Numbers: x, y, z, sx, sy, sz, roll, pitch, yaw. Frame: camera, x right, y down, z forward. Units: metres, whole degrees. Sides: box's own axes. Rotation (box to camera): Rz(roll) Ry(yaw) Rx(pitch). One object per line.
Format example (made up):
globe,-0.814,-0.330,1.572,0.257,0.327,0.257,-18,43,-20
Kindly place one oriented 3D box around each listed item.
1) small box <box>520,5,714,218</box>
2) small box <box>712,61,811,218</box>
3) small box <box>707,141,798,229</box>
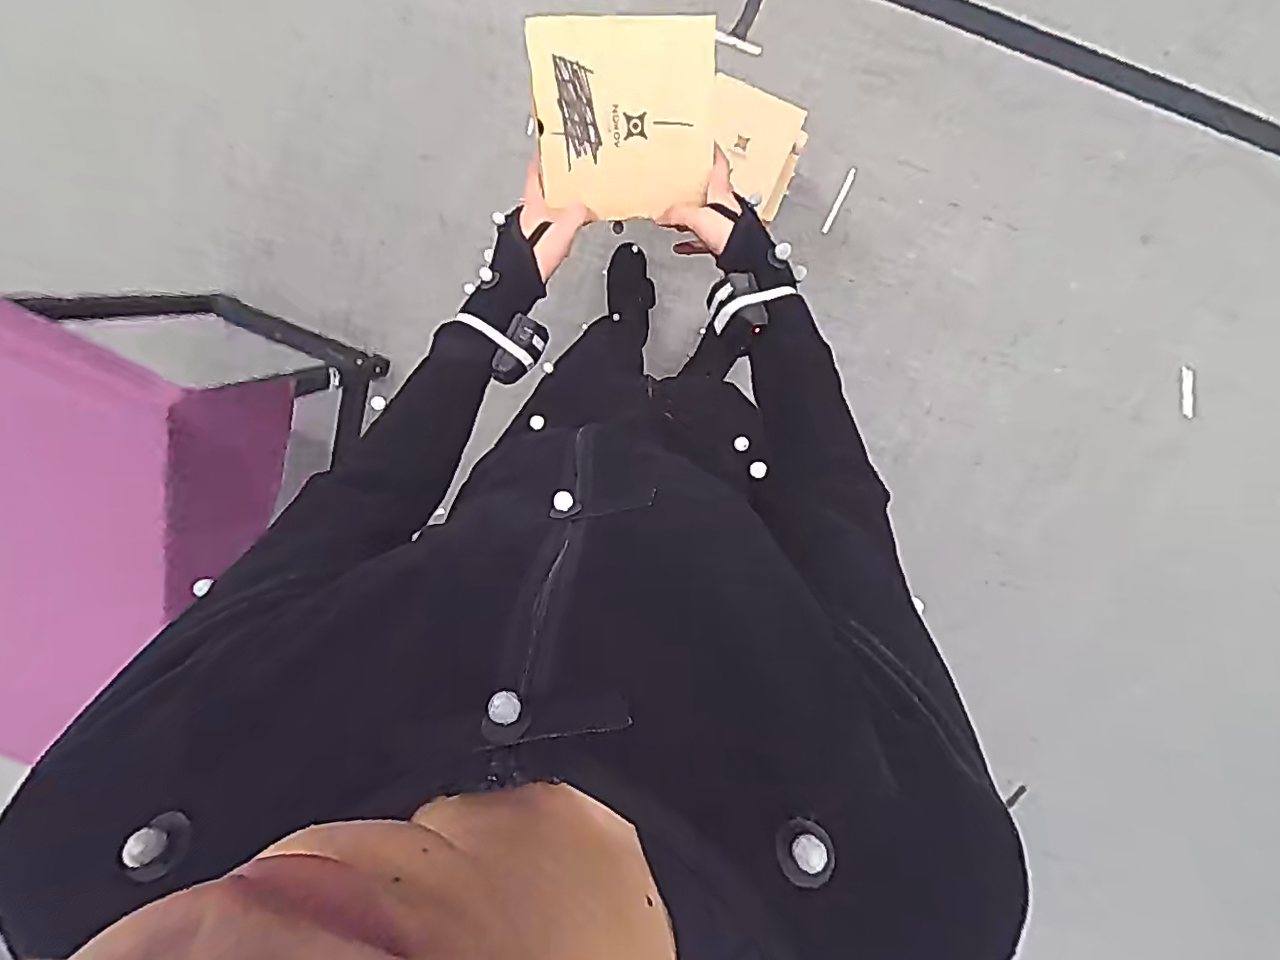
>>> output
small box,-0.021,-0.380,0.587,0.179,0.176,0.168,-5,117,-2
small box,0.183,-0.601,0.981,0.168,0.176,0.179,24,113,-1
small box,0.258,-0.713,1.283,0.168,0.176,0.179,20,112,2
